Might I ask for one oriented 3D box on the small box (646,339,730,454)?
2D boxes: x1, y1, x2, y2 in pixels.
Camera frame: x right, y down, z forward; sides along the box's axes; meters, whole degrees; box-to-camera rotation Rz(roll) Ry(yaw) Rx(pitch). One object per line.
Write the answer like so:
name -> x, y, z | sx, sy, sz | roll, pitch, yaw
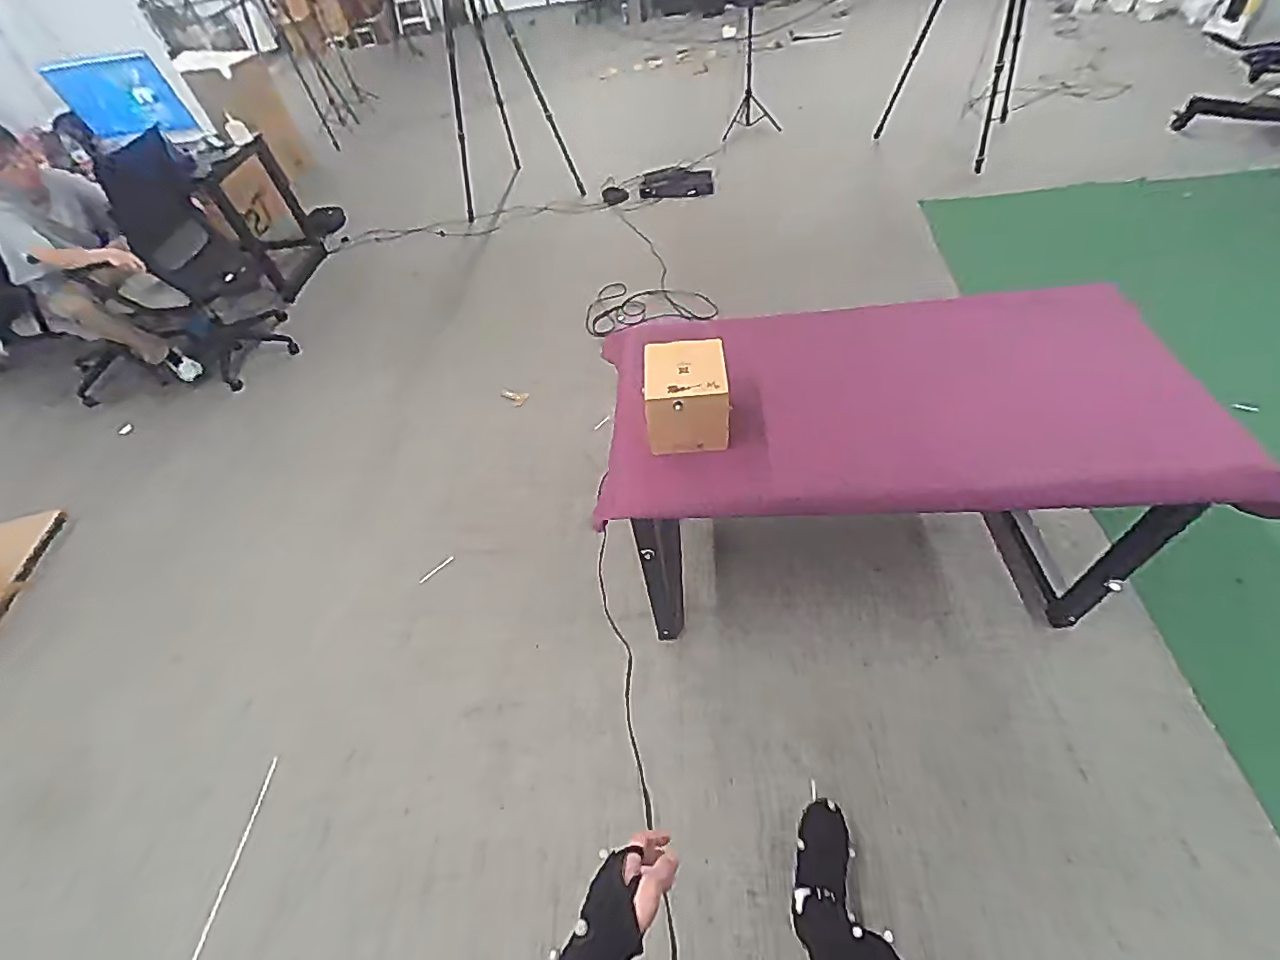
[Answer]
small box -> 0.103, -0.177, 1.159 | 0.168, 0.176, 0.179 | -4, 50, 7
